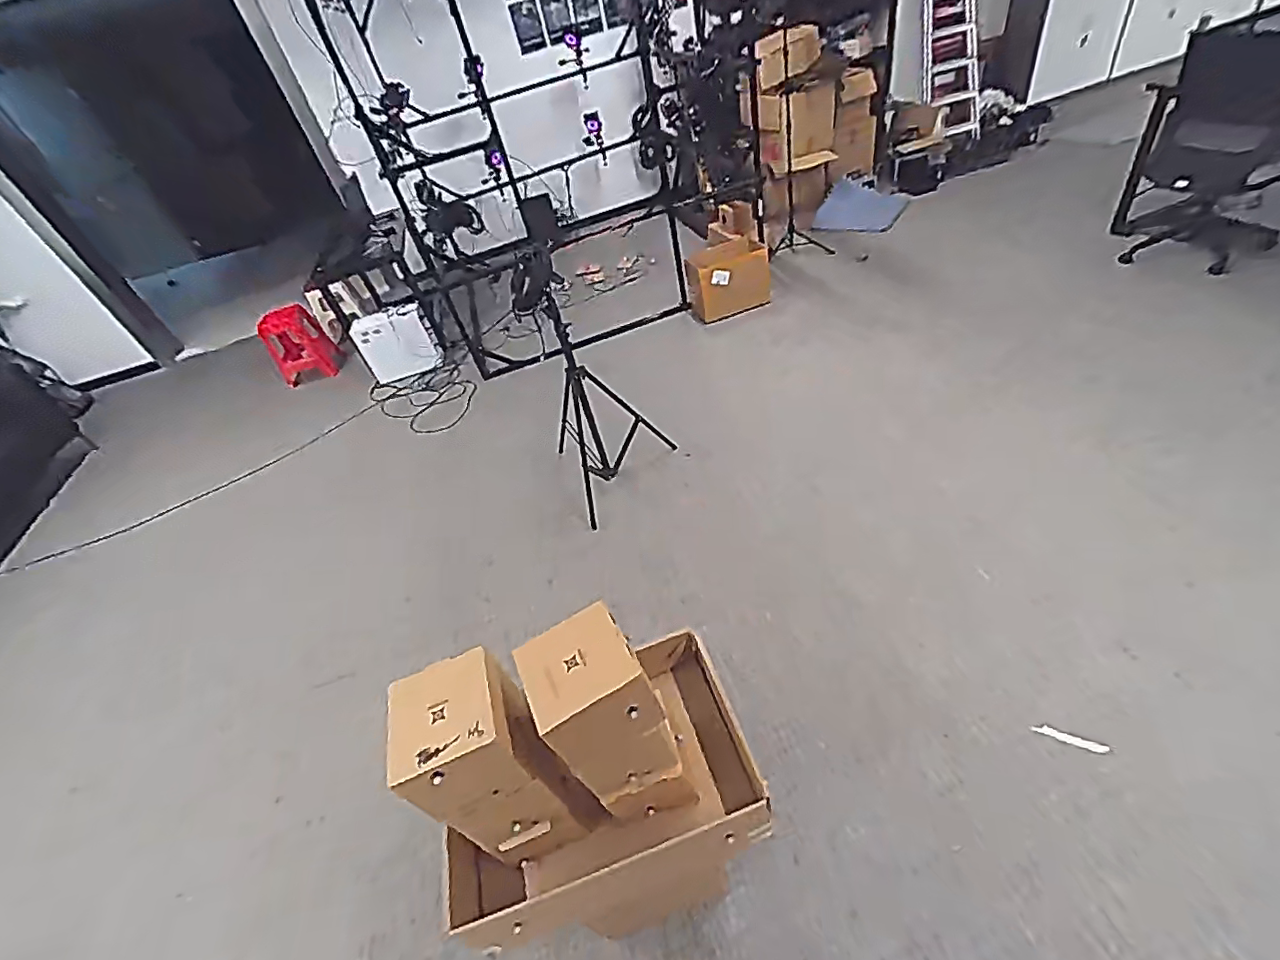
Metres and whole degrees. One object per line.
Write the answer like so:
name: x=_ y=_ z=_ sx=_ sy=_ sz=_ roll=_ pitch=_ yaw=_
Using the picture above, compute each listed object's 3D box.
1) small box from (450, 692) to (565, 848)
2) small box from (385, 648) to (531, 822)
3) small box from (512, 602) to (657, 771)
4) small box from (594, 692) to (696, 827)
small box: x=-0.253 y=0.536 z=1.000 sx=0.168 sy=0.176 sz=0.179 roll=-22 pitch=42 yaw=-6
small box: x=-0.294 y=0.419 z=0.890 sx=0.168 sy=0.176 sz=0.179 roll=-23 pitch=40 yaw=-5
small box: x=-0.085 y=0.347 z=0.907 sx=0.179 sy=0.176 sz=0.168 roll=-29 pitch=42 yaw=-8
small box: x=0.004 y=0.579 z=1.119 sx=0.168 sy=0.176 sz=0.179 roll=-21 pitch=42 yaw=0
